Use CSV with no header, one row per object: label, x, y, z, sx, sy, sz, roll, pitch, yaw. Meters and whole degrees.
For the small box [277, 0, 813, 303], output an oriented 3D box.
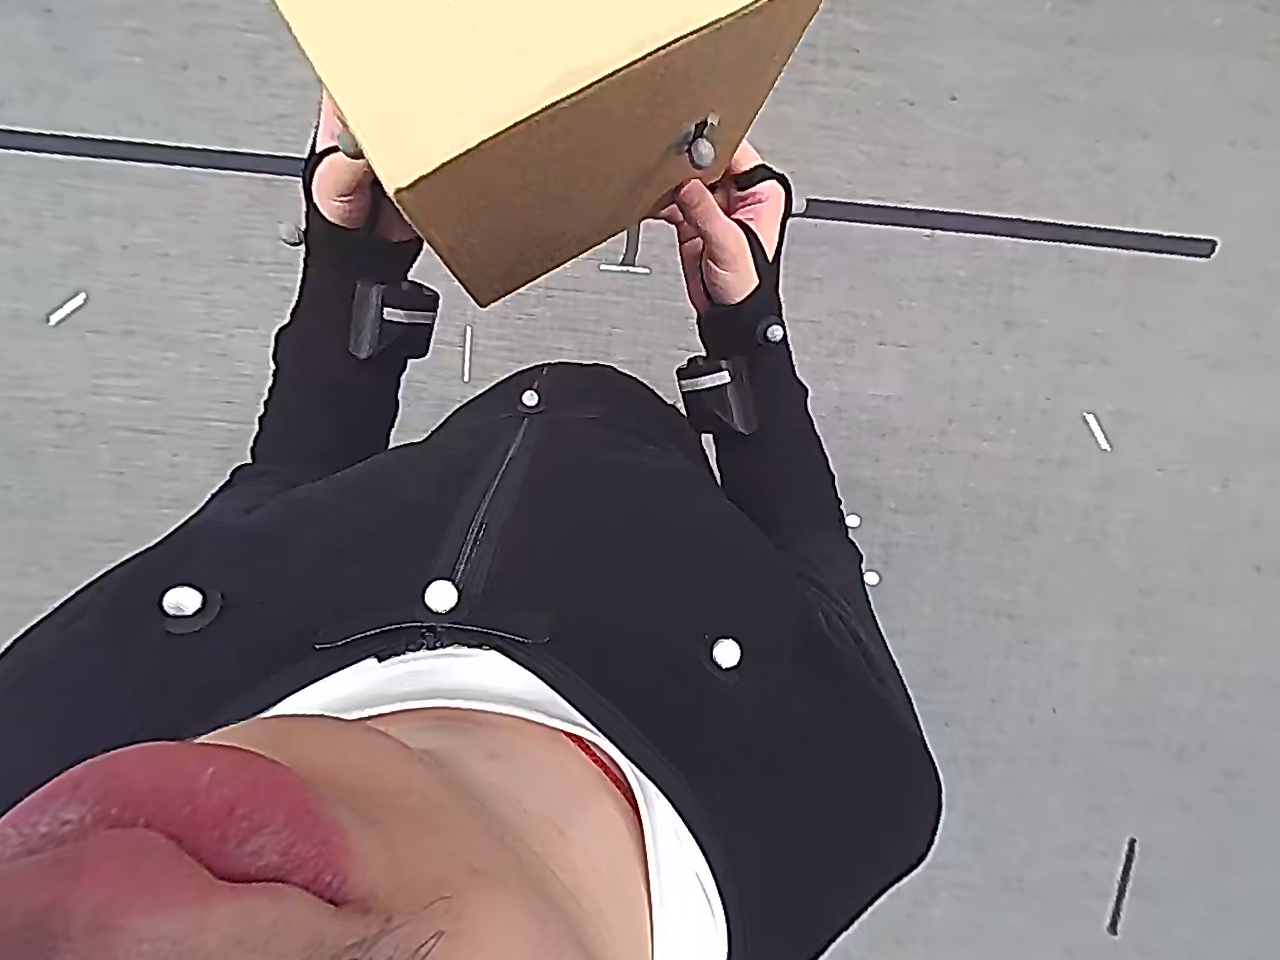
small box,-0.056,-0.212,0.260,0.179,0.176,0.168,-30,97,-2
